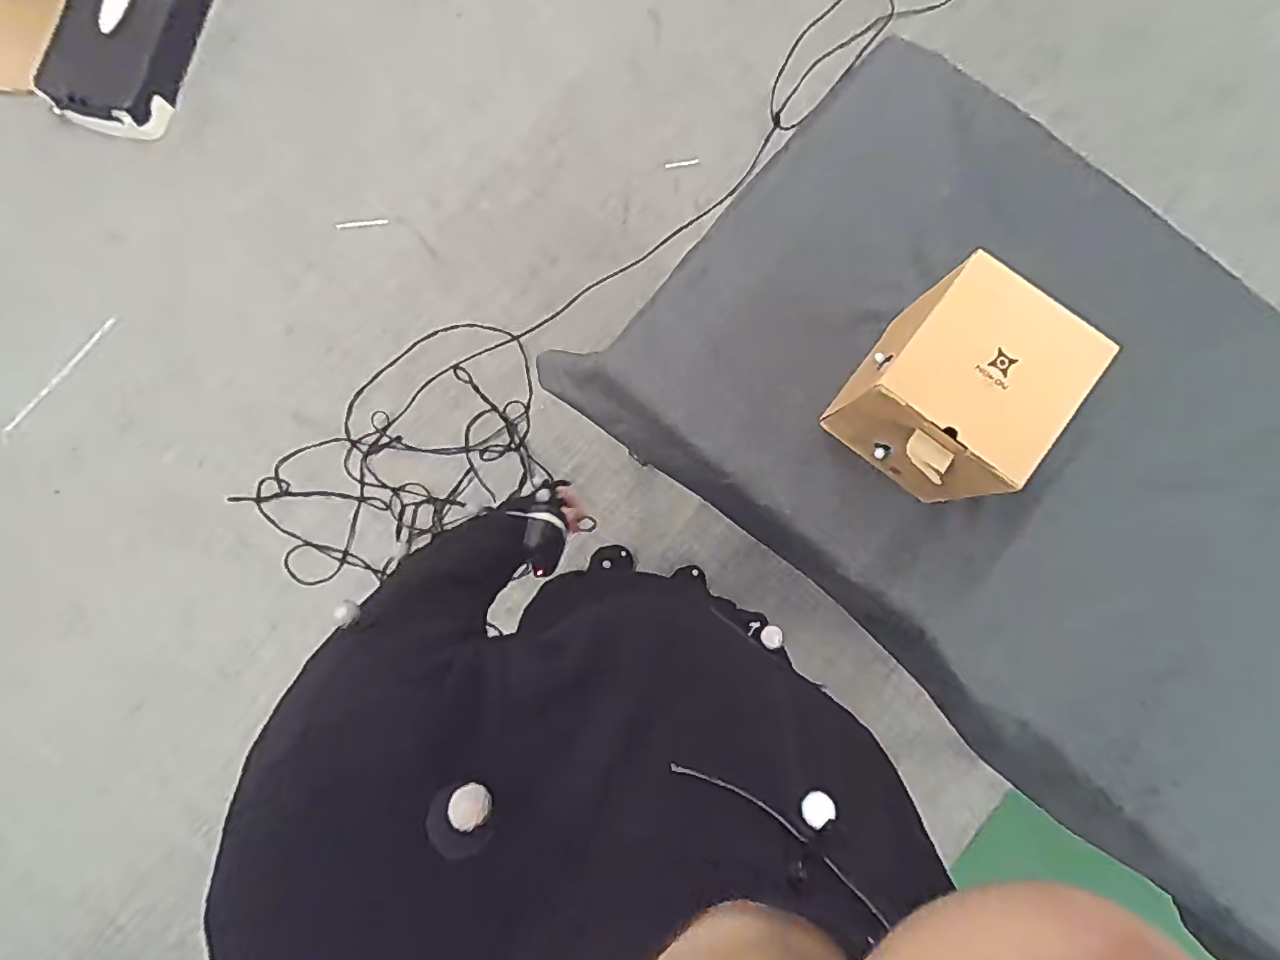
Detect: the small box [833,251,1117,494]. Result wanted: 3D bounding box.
[{"bbox_3d":[0.346,-0.103,0.597,0.168,0.176,0.179,37,85,3],"label":"small box"}]
